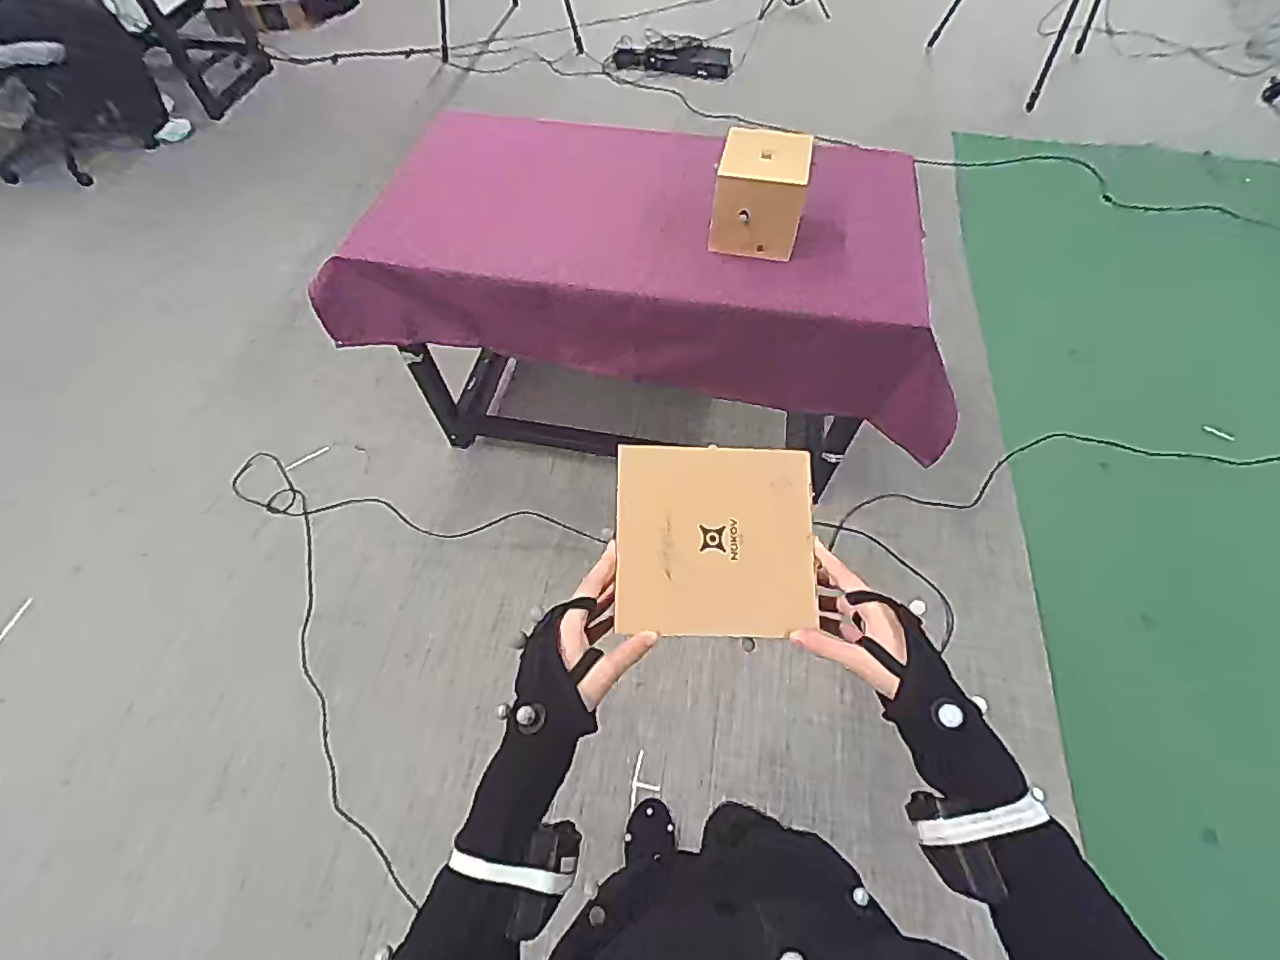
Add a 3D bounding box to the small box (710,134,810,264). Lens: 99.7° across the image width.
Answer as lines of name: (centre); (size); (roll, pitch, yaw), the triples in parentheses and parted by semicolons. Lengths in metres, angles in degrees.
small box: (0.238, -0.567, 1.099); (0.168, 0.176, 0.179); (10, 58, 8)
